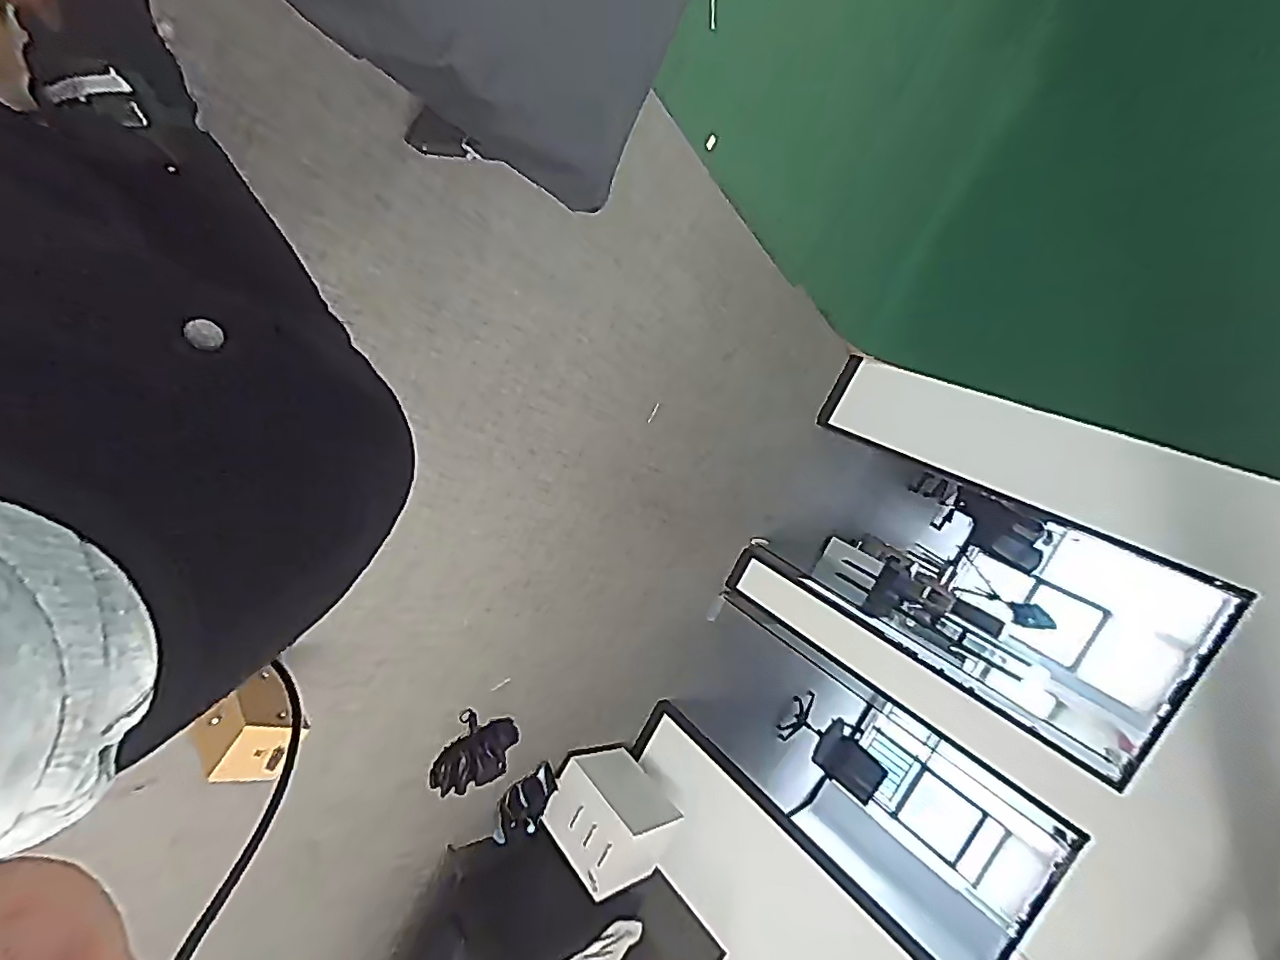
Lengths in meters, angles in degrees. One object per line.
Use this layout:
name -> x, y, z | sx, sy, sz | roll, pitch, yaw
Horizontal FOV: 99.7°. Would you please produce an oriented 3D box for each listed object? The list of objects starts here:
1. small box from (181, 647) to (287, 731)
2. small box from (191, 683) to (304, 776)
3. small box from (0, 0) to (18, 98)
small box -> -1.185, 0.609, 1.577 | 0.168, 0.176, 0.179 | -57, 142, -4
small box -> -1.073, 0.677, 1.478 | 0.168, 0.176, 0.179 | -56, 142, -5
small box -> -0.420, -0.327, 0.240 | 0.168, 0.176, 0.179 | -12, 149, -42
